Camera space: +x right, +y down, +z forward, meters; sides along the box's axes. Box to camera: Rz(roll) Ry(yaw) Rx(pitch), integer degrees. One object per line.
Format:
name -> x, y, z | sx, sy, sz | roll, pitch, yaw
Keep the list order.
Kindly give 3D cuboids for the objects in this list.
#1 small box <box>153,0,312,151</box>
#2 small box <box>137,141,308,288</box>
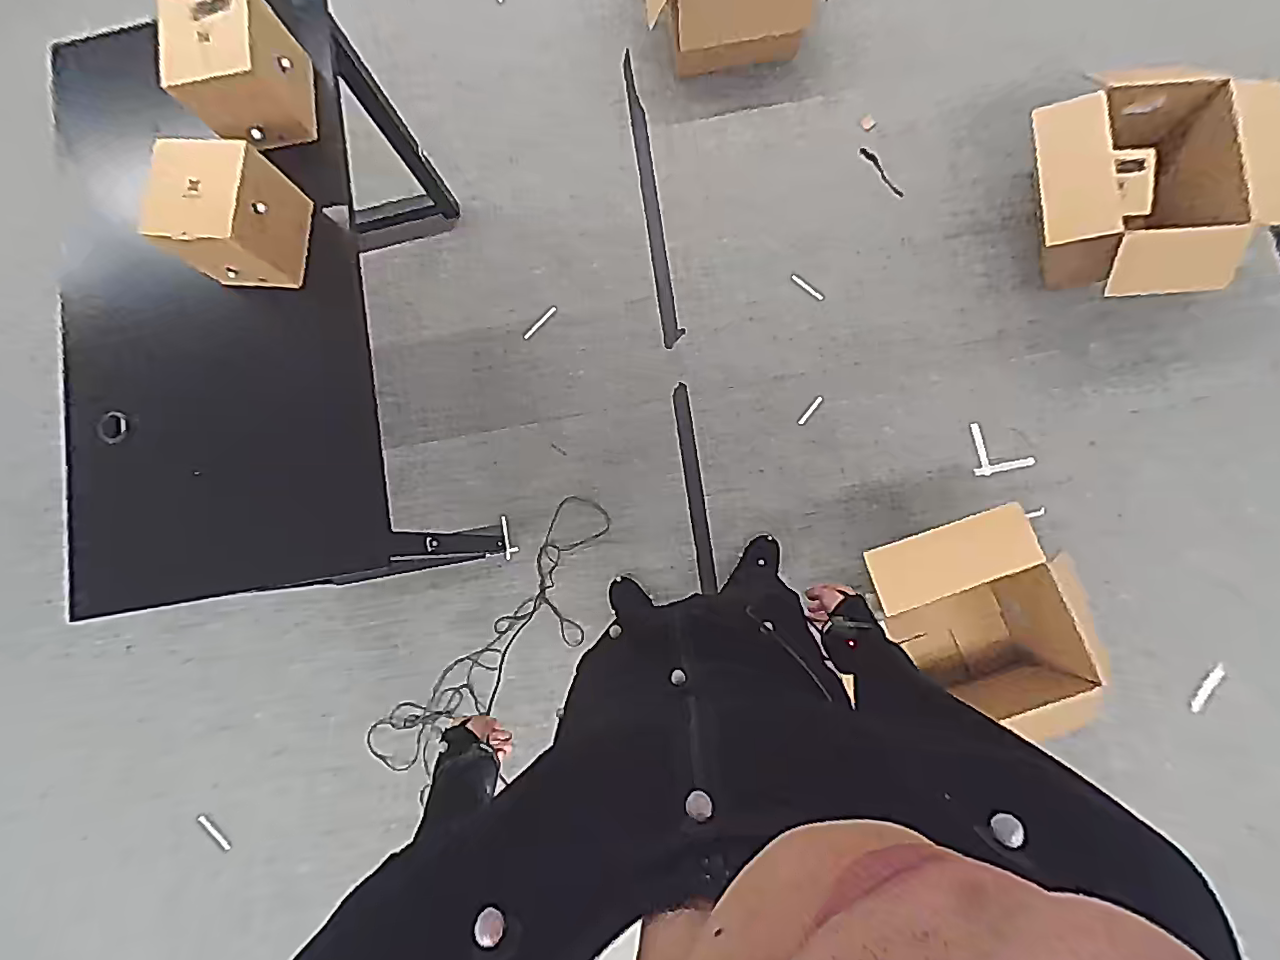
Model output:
small box -> -0.735, -0.744, 0.990 | 0.168, 0.176, 0.179 | -8, 84, 5
small box -> -0.727, -0.465, 0.962 | 0.168, 0.176, 0.179 | 3, 85, 6
